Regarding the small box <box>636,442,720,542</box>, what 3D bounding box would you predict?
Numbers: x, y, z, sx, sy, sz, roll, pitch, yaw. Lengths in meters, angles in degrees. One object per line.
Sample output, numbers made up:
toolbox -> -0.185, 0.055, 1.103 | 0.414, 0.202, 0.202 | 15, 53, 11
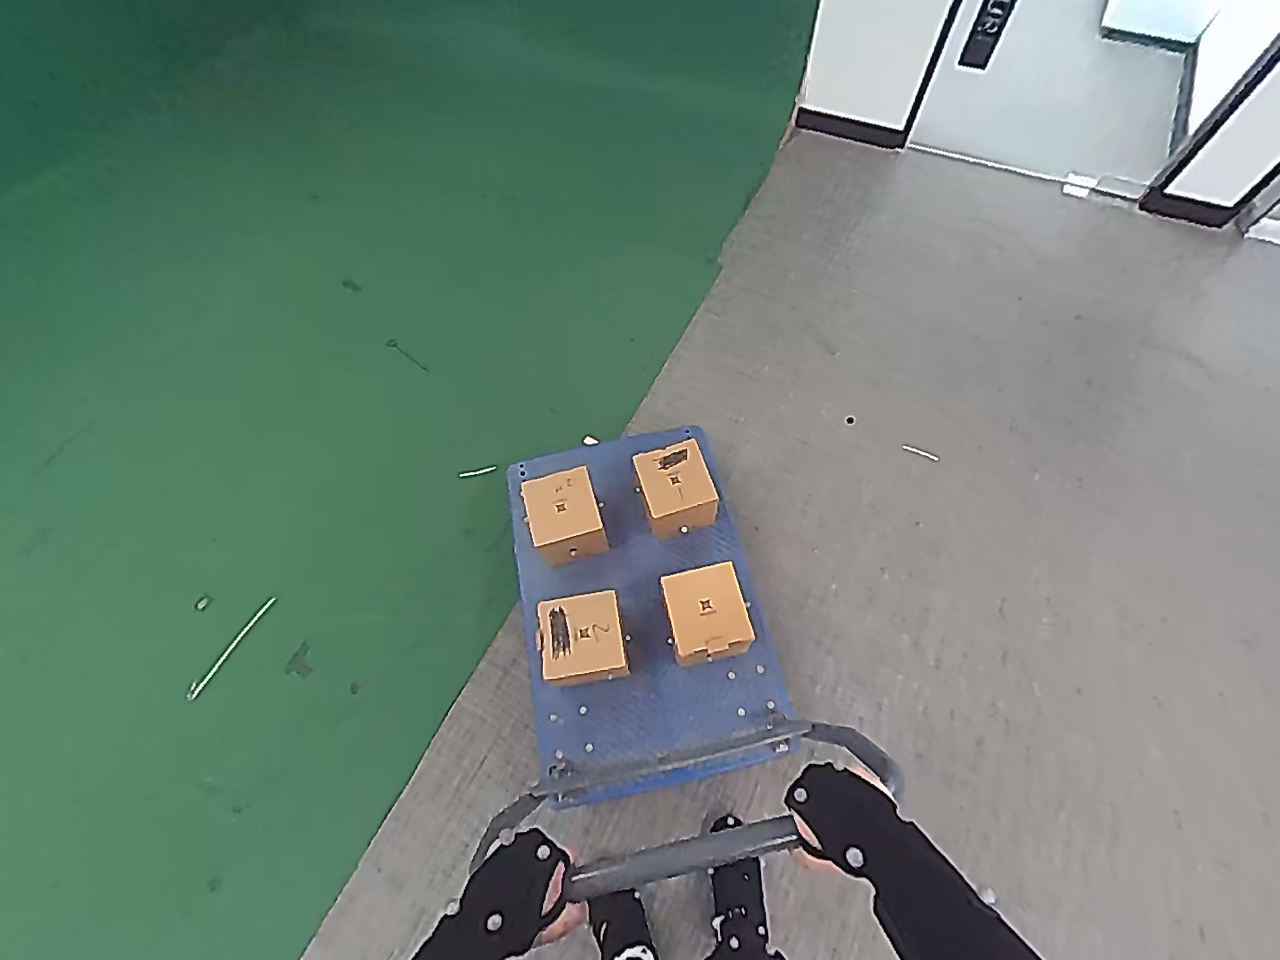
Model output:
small box -> 0.091, 0.035, 1.366 | 0.168, 0.176, 0.179 | -16, 66, -5

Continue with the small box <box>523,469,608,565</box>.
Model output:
small box -> -0.180, 0.100, 1.347 | 0.168, 0.176, 0.179 | -15, 65, -5

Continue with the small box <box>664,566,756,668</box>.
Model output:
small box -> 0.149, 0.315, 1.232 | 0.168, 0.176, 0.179 | -12, 65, -3
